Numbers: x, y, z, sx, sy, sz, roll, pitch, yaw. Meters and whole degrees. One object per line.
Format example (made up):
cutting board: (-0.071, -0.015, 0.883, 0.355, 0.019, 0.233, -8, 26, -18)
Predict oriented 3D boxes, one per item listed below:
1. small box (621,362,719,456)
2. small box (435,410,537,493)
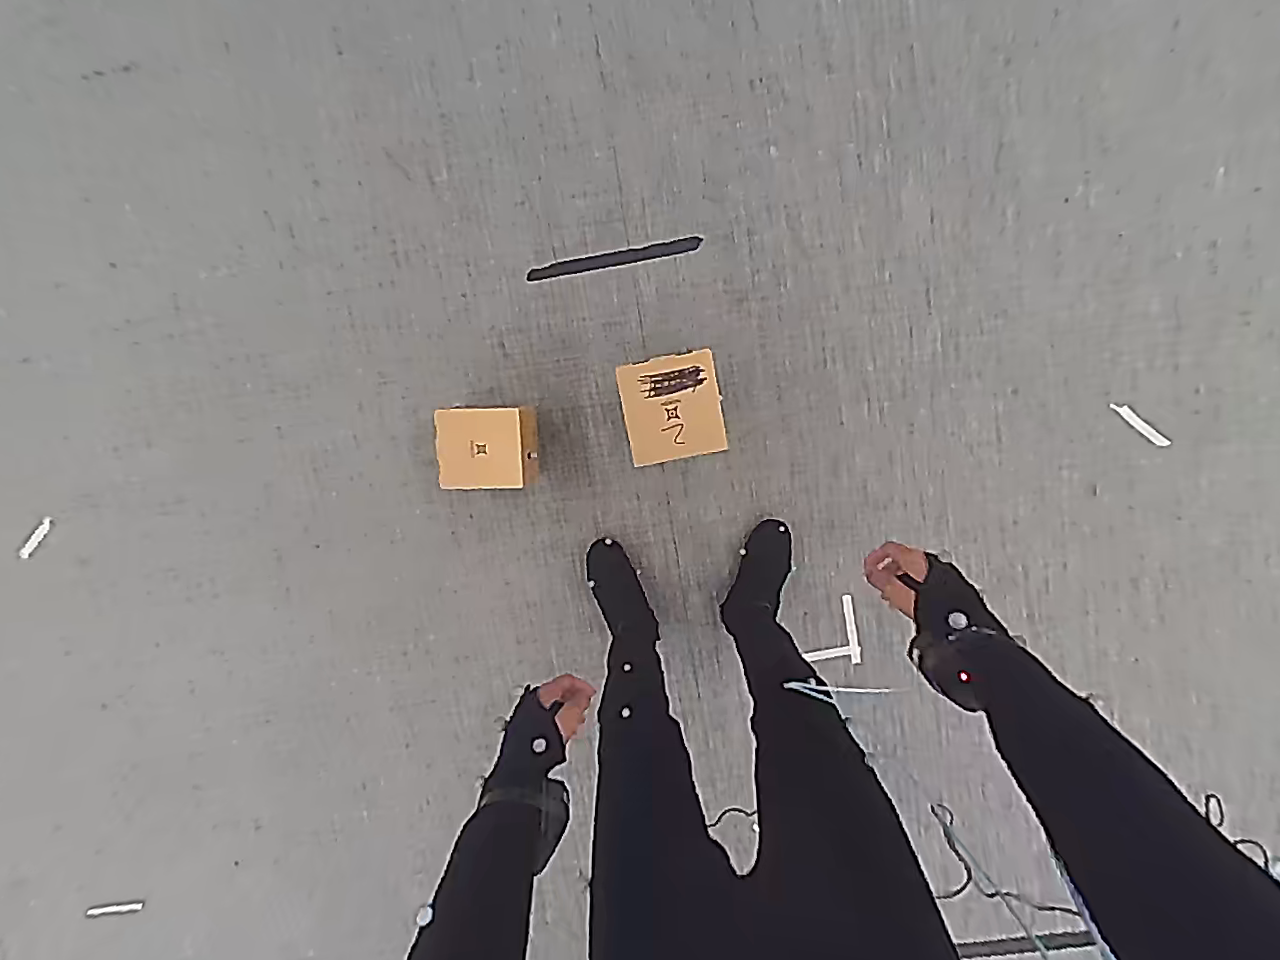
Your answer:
small box: (0.063, -0.149, 1.154, 0.179, 0.176, 0.168, -10, 98, 2)
small box: (-0.324, -0.067, 1.175, 0.179, 0.176, 0.168, -1, 98, 2)
